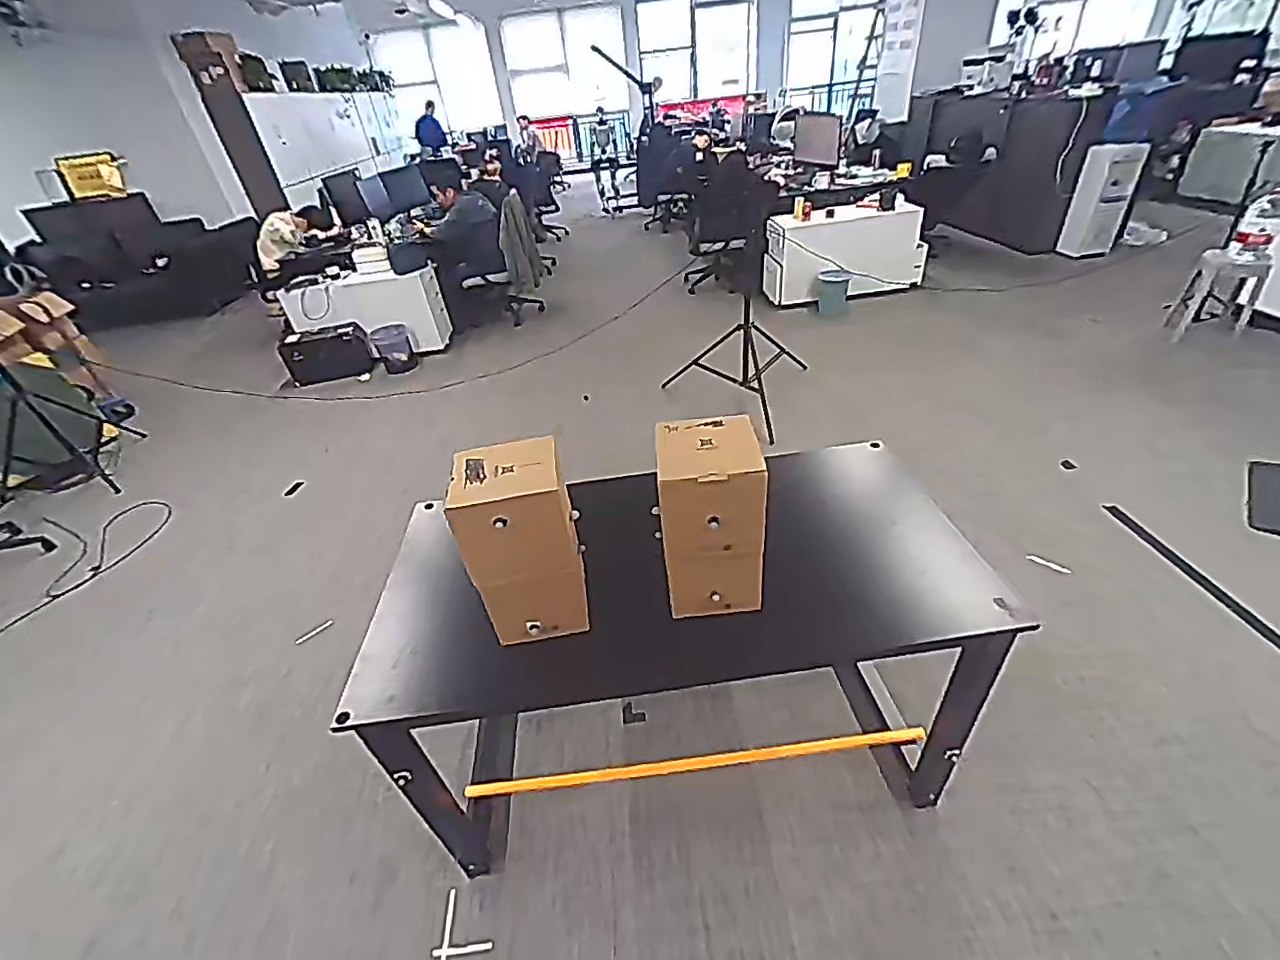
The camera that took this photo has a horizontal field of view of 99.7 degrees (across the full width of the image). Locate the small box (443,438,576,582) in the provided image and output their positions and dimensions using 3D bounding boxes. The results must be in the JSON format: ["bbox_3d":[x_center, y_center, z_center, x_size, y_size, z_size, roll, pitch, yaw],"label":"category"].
[{"bbox_3d":[-0.214,0.053,0.924,0.179,0.176,0.168,-11,36,-5],"label":"small box"}]

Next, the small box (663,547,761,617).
[{"bbox_3d":[0.128,0.135,1.029,0.168,0.176,0.179,-6,36,2],"label":"small box"}]

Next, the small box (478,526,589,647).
[{"bbox_3d":[-0.195,0.183,1.023,0.168,0.176,0.179,-11,37,-3],"label":"small box"}]

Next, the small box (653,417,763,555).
[{"bbox_3d":[0.113,0.015,0.918,0.168,0.176,0.179,-5,37,3],"label":"small box"}]
